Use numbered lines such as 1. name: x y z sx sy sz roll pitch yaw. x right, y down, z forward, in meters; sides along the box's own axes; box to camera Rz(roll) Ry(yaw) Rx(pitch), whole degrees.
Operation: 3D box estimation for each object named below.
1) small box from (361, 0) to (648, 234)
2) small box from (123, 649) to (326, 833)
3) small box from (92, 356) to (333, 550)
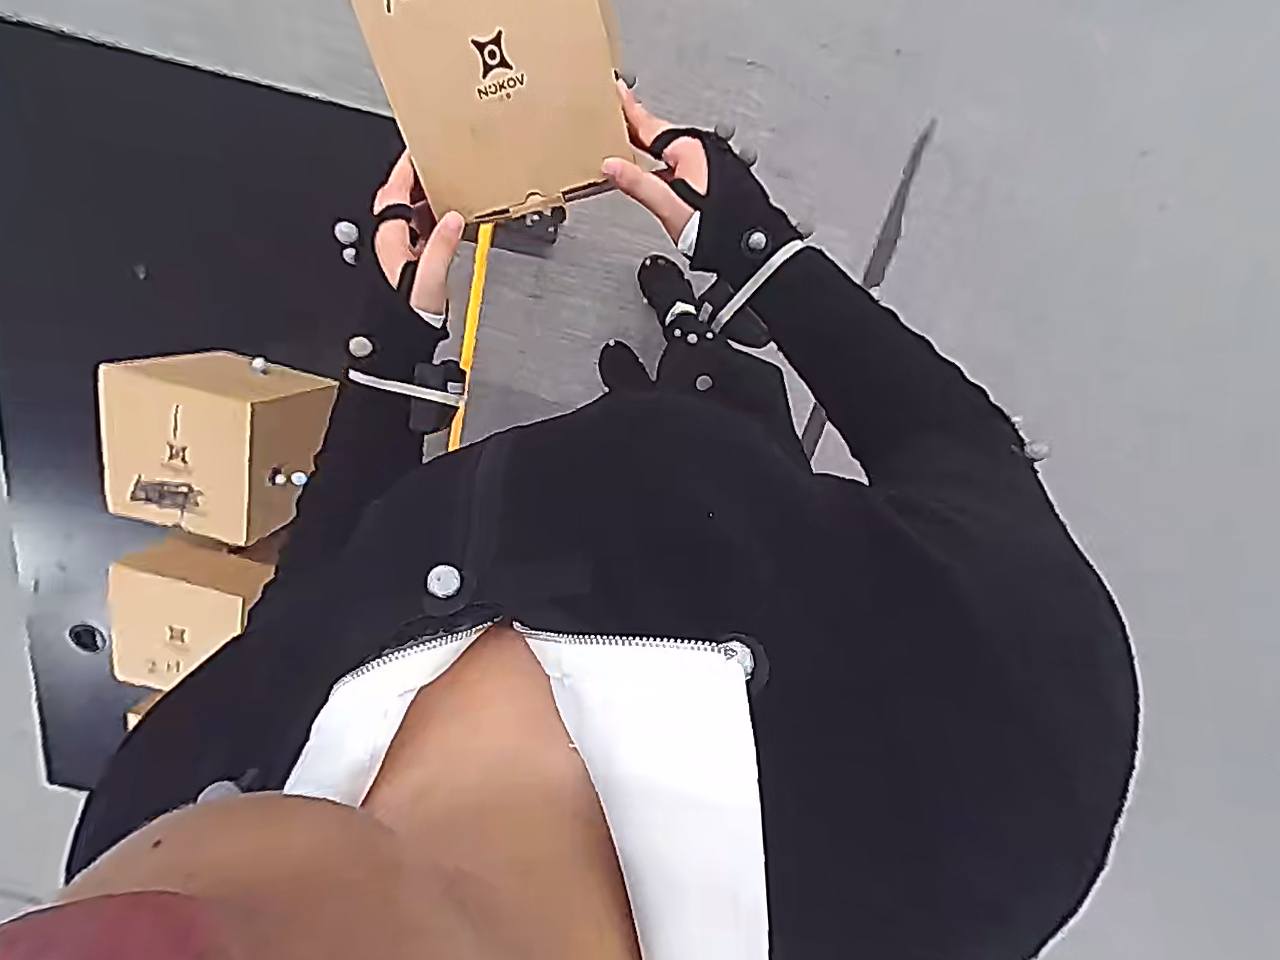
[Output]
1. small box: -0.090 -0.321 0.448 0.168 0.176 0.179 -10 118 8
2. small box: -0.612 0.382 0.815 0.179 0.176 0.168 13 110 -2
3. small box: -0.509 -0.043 0.668 0.168 0.176 0.179 15 108 -2
